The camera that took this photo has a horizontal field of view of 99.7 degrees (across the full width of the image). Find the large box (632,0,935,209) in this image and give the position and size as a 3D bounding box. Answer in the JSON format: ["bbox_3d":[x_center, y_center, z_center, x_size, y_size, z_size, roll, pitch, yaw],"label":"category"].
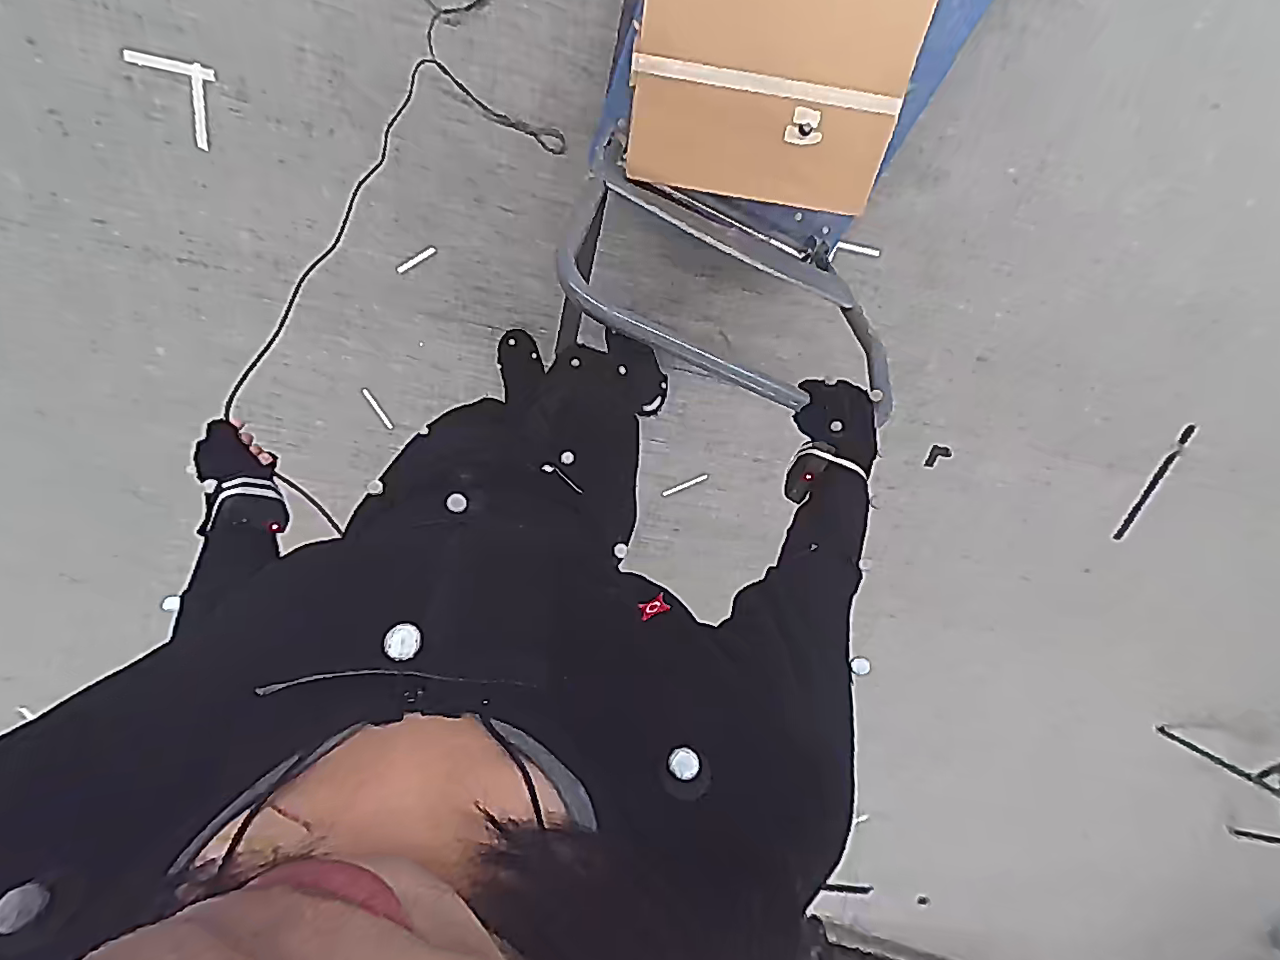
[{"bbox_3d":[0.201,-0.687,0.929,0.408,0.320,0.320,7,128,-4],"label":"large box"}]
